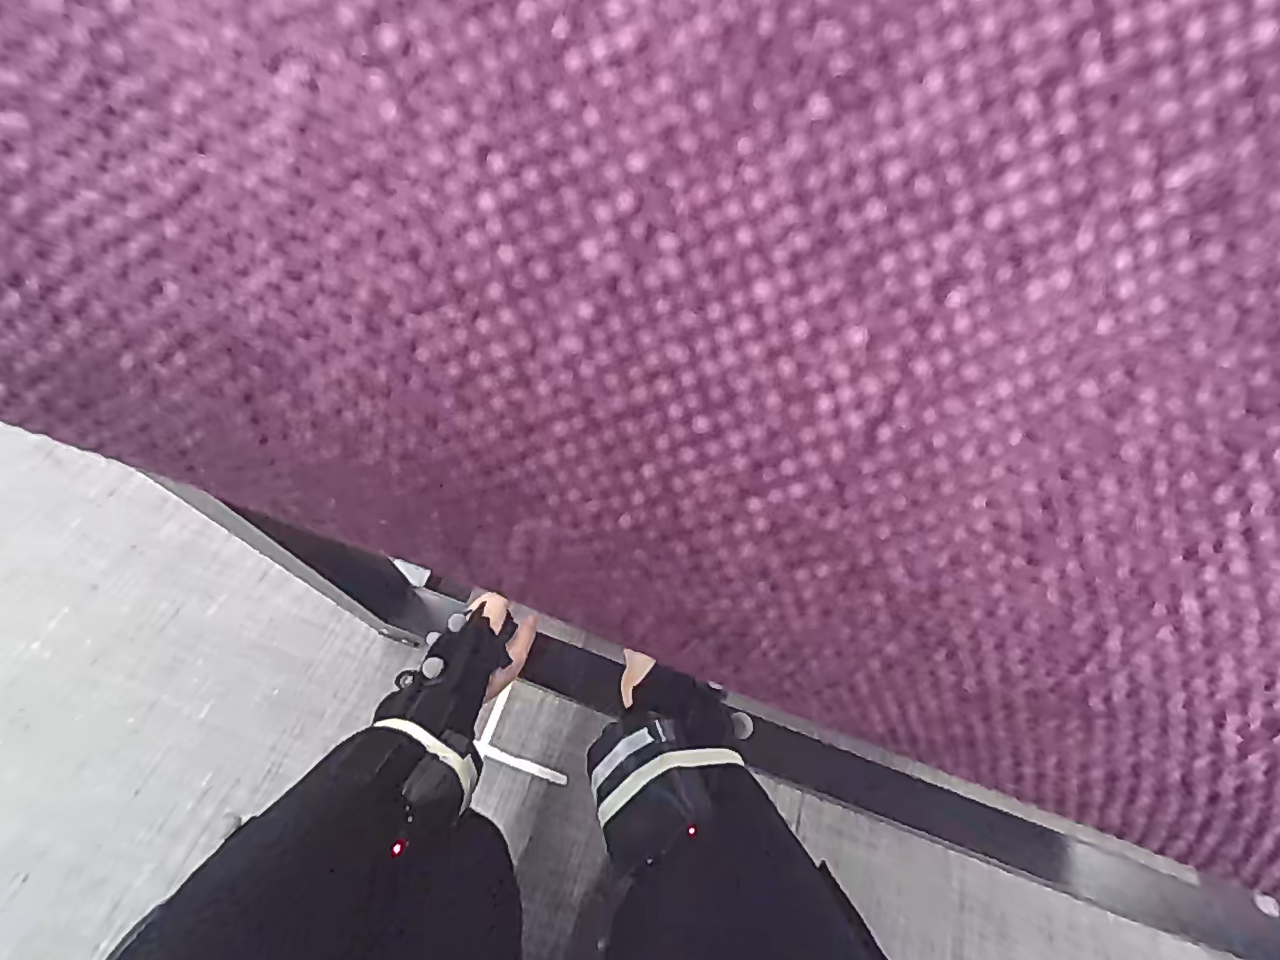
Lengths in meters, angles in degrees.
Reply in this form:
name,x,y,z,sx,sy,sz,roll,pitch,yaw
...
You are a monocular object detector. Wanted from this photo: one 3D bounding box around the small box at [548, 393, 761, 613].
name,x,y,z,sx,sy,sz,roll,pitch,yaw
small box,0.011,0.037,0.602,0.179,0.176,0.168,20,64,2
